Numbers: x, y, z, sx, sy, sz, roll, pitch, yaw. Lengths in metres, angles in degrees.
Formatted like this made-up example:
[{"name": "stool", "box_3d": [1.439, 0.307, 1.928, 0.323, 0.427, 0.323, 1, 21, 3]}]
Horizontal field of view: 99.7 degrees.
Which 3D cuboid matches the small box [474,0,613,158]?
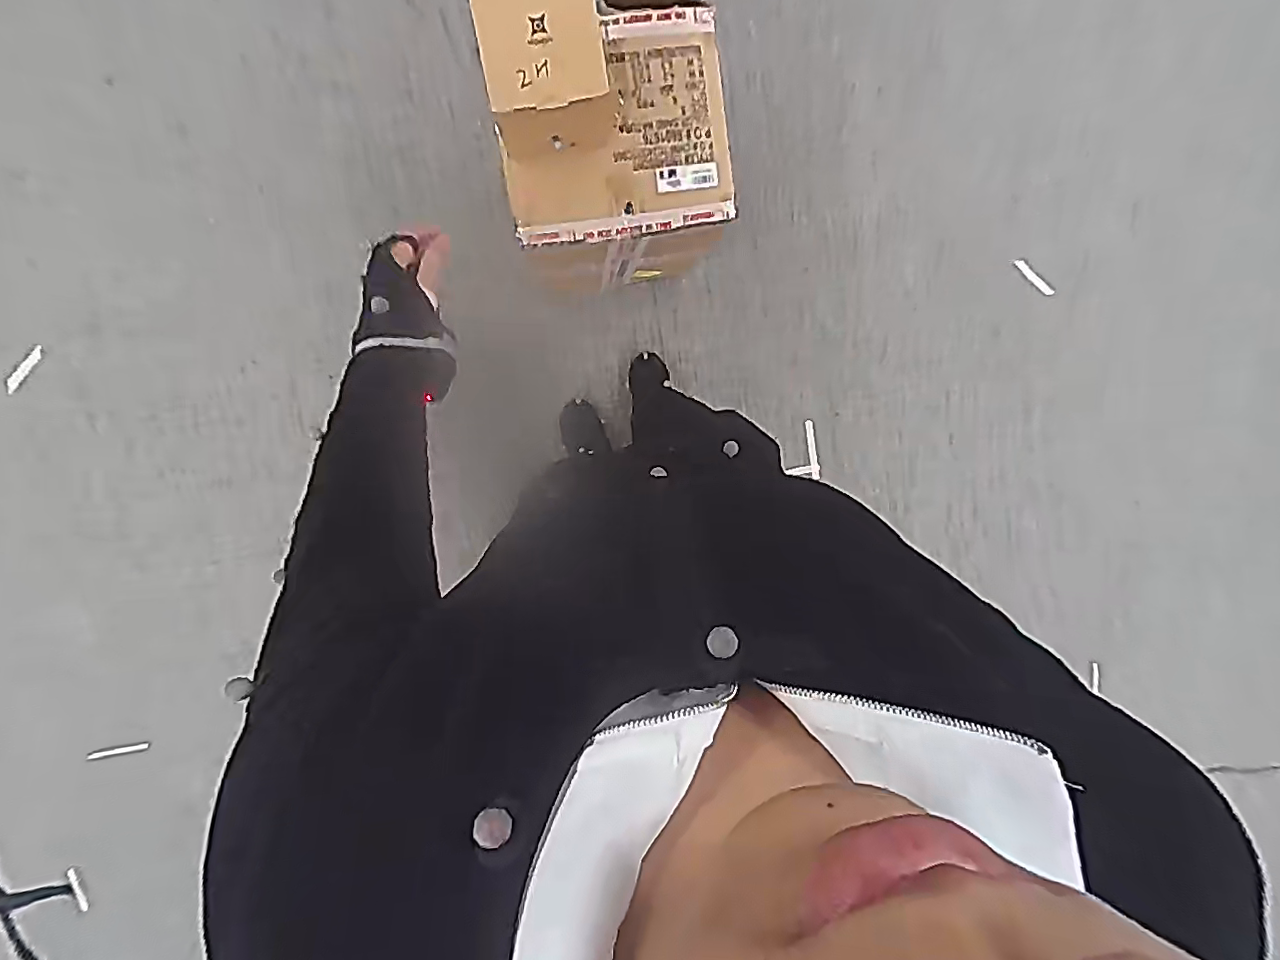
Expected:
[{"name": "small box", "box_3d": [-0.138, -0.612, 0.800, 0.168, 0.176, 0.179, -11, 103, -2]}]
